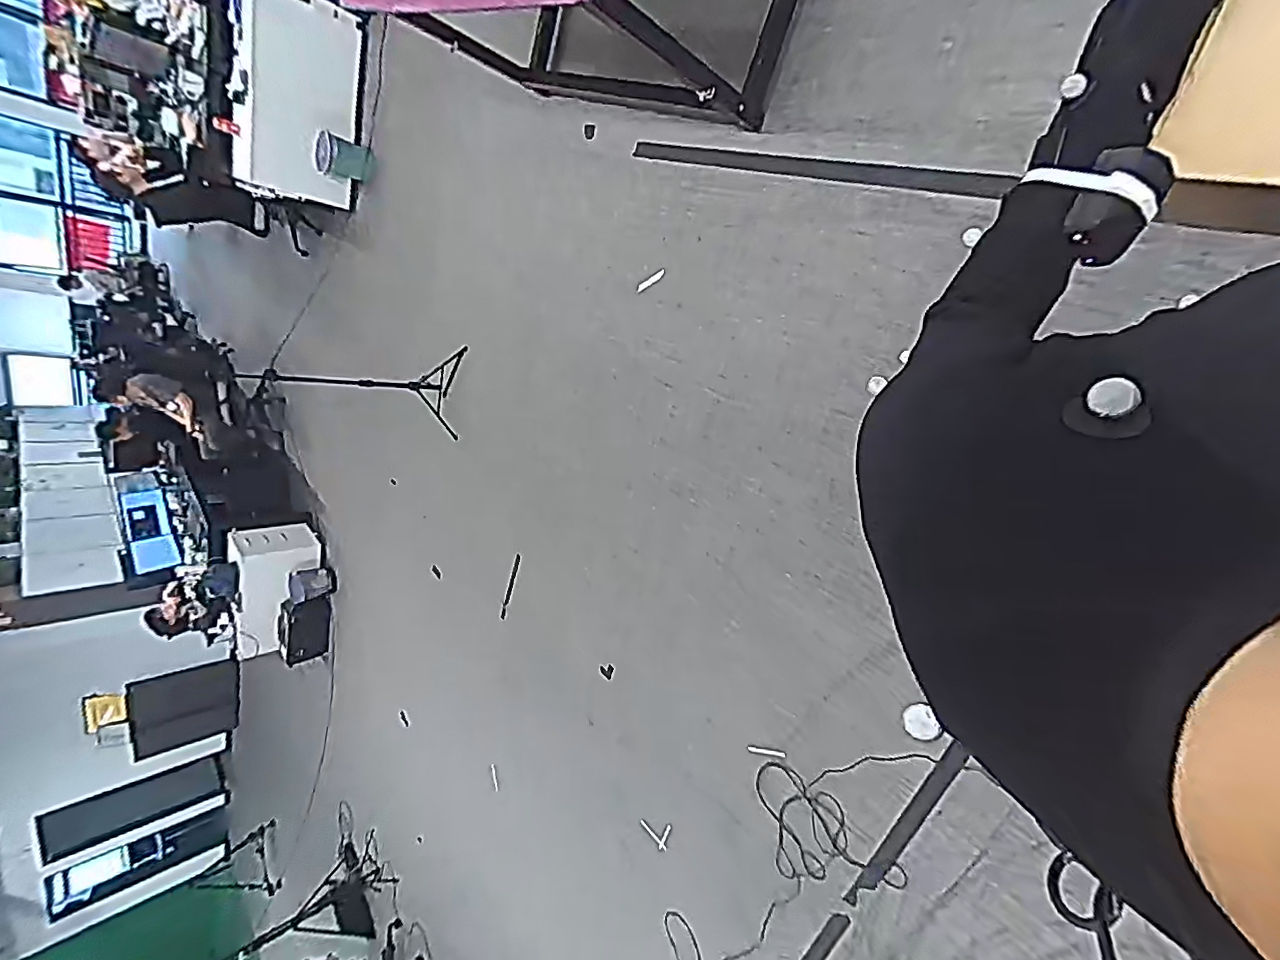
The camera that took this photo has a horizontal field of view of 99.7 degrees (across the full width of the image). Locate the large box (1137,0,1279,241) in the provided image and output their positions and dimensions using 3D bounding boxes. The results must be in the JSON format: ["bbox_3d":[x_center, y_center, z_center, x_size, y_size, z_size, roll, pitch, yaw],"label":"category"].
[{"bbox_3d":[0.651,-0.326,0.355,0.408,0.320,0.320,28,122,33],"label":"large box"}]
